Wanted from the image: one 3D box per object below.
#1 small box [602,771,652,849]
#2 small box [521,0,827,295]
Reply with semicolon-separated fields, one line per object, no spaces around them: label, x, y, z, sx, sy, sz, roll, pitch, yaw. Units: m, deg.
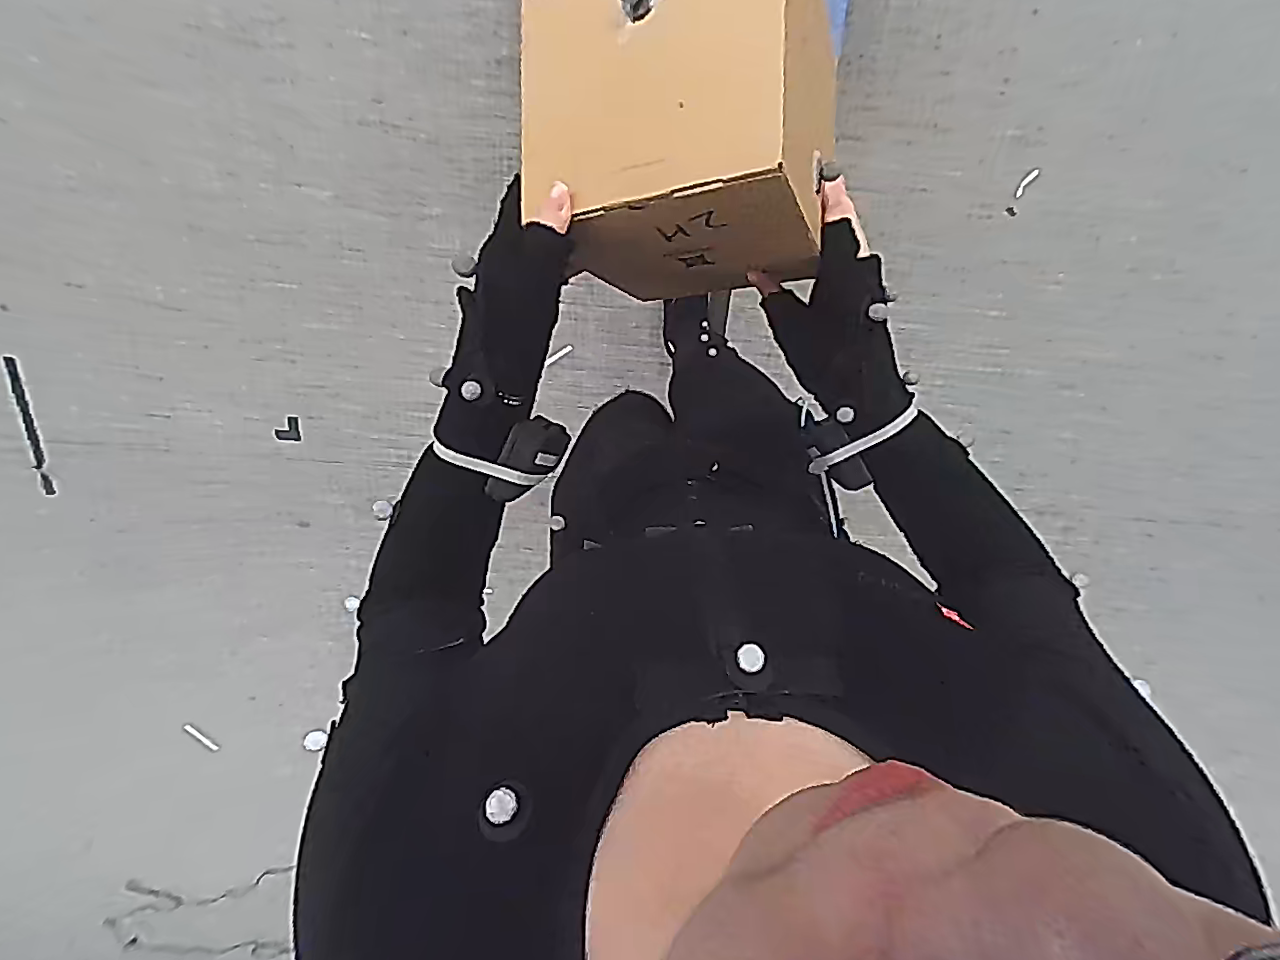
small box;-0.042;1.139;1.872;0.168;0.176;0.179;0;112;2
small box;0.036;-0.247;0.380;0.168;0.179;0.176;1;91;27
